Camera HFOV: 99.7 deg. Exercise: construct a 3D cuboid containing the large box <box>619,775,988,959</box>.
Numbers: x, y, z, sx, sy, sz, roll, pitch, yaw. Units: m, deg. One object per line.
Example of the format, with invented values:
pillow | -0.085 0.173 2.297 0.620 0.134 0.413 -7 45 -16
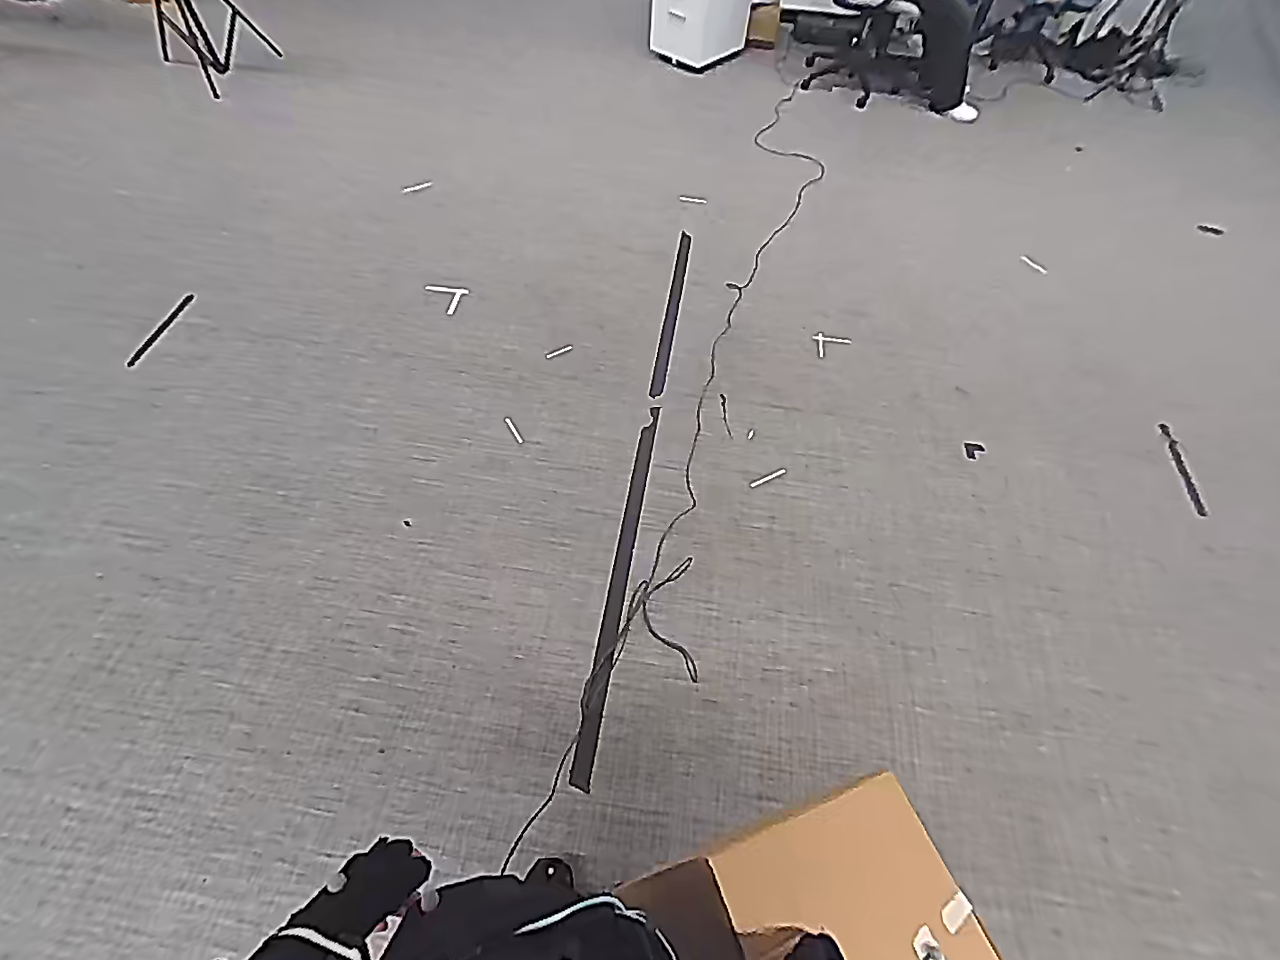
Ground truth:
large box | 0.206 0.667 0.751 0.320 0.408 0.320 -6 53 -26
